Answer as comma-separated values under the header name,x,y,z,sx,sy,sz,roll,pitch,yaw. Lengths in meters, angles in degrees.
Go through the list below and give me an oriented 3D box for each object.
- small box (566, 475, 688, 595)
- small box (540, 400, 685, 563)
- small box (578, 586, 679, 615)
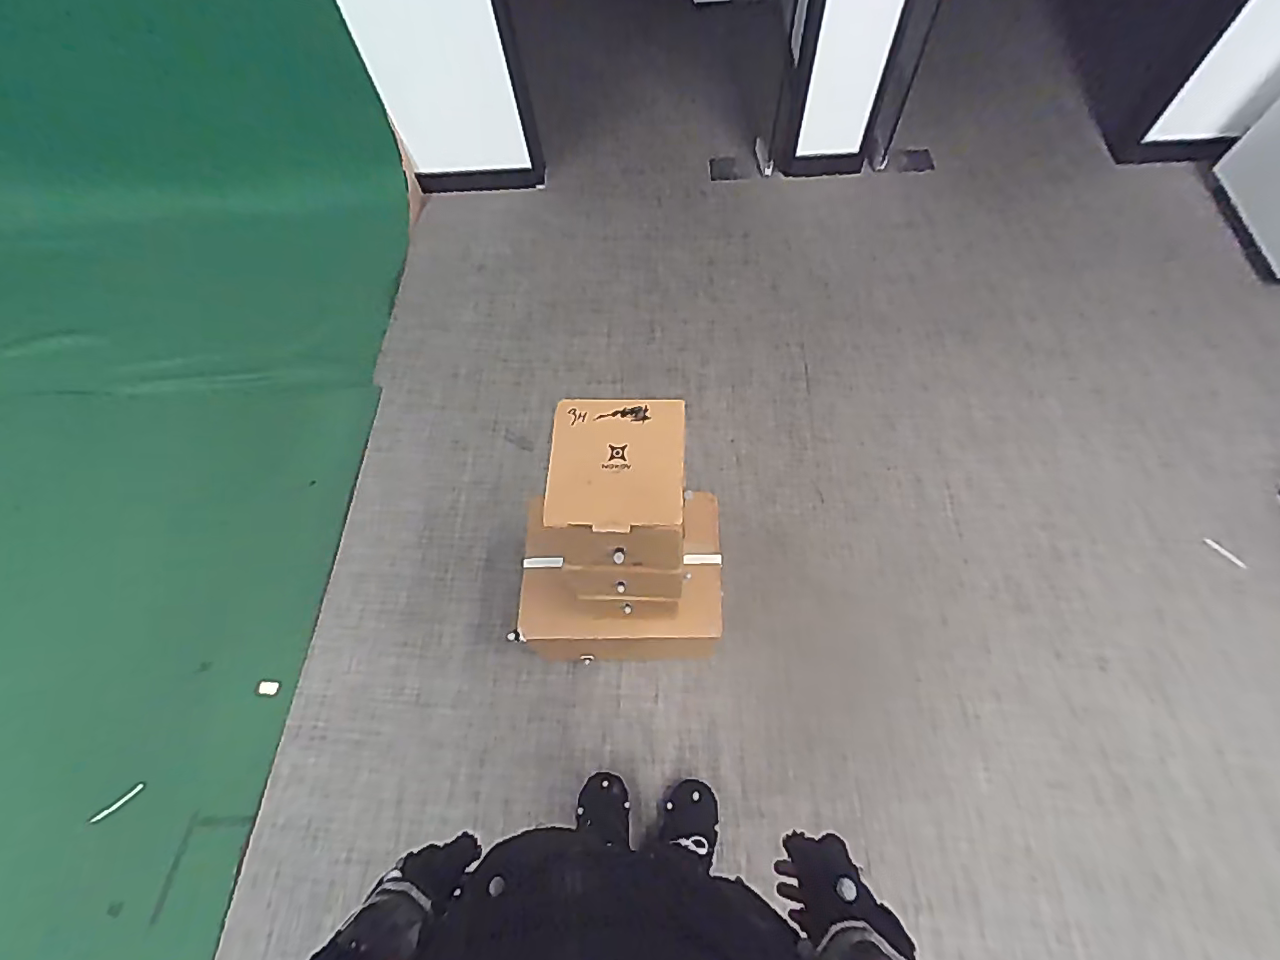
name,x,y,z,sx,sy,sz,roll,pitch,yaw
small box,-0.015,0.088,0.875,0.179,0.176,0.168,-1,66,3
small box,-0.025,0.009,0.731,0.168,0.176,0.179,1,66,6
small box,-0.013,0.158,1.023,0.179,0.176,0.168,1,66,3
